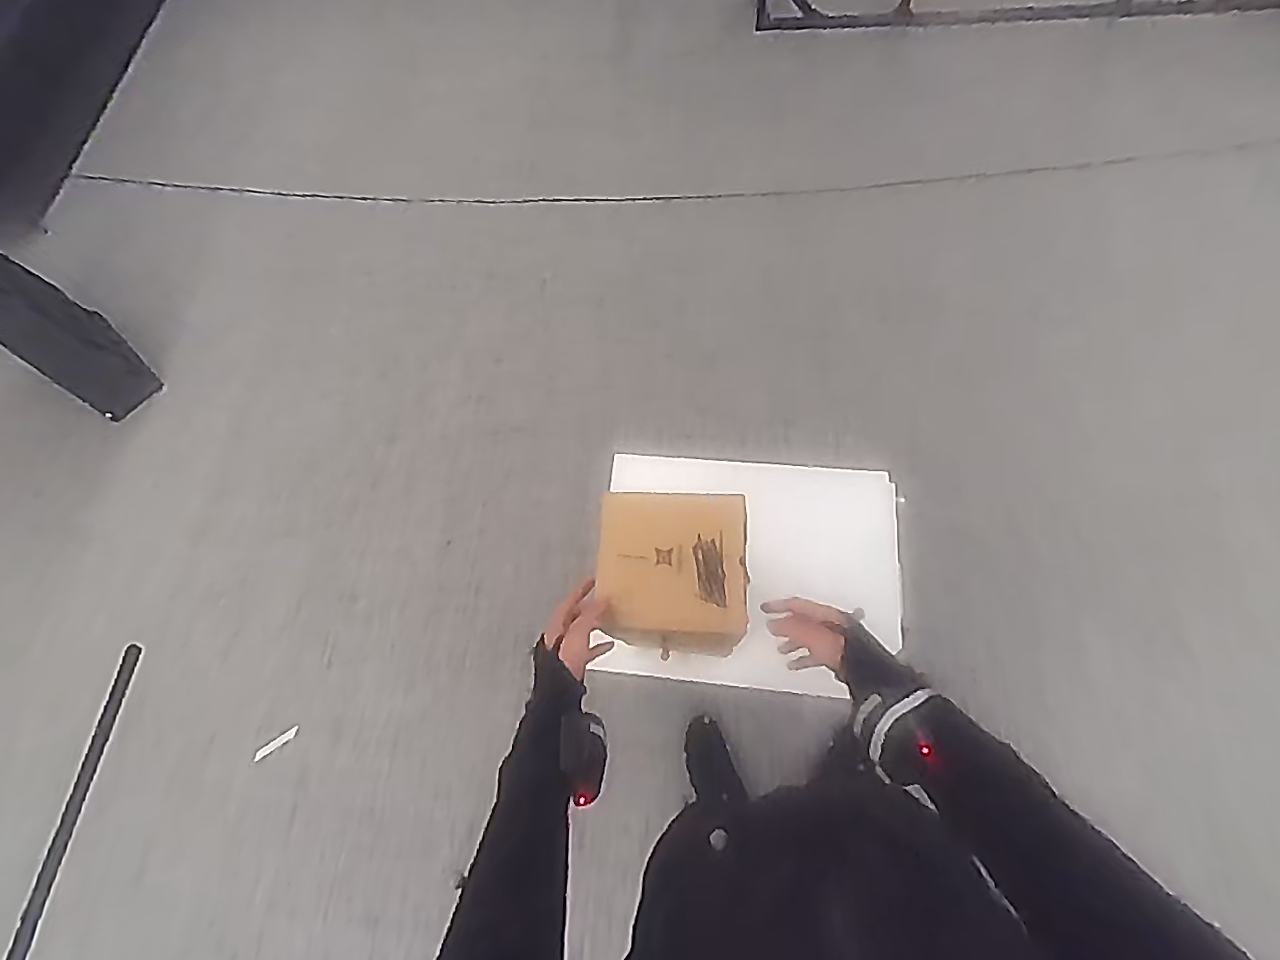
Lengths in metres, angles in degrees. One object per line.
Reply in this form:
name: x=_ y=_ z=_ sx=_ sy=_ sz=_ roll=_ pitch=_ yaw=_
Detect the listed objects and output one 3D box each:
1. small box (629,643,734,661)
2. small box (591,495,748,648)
small box: x=0.065 y=0.183 z=0.855 sx=0.168 sy=0.176 sz=0.179 roll=5 pitch=70 yaw=7
small box: x=0.044 y=0.125 z=0.703 sx=0.179 sy=0.176 sz=0.168 roll=0 pitch=68 yaw=7
